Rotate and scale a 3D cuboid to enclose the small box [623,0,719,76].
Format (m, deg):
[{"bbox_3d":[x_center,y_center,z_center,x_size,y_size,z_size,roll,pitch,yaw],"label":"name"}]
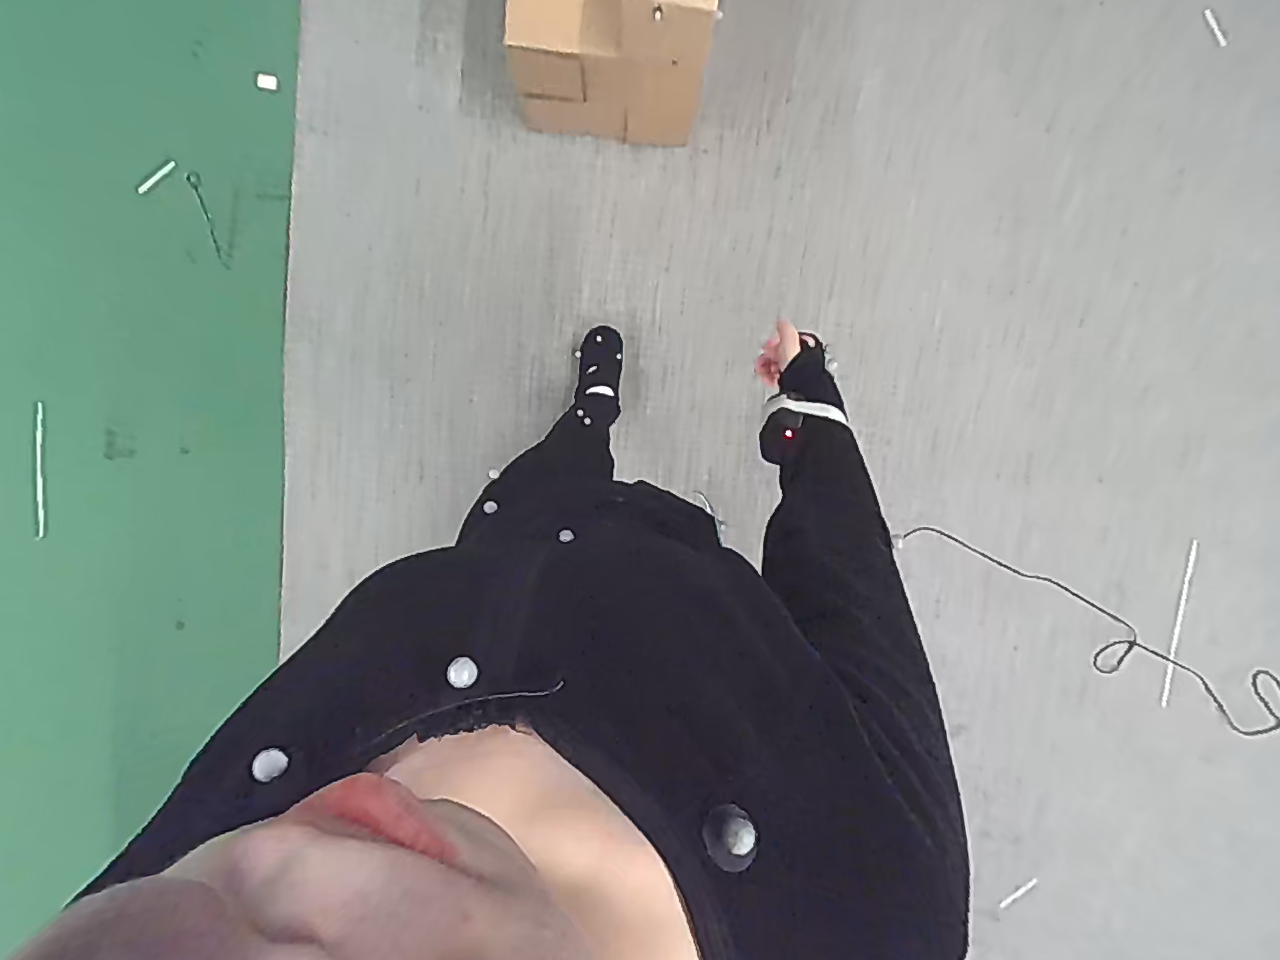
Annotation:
[{"bbox_3d":[0.062,-0.895,0.987,0.168,0.176,0.179,9,94,-2],"label":"small box"}]
